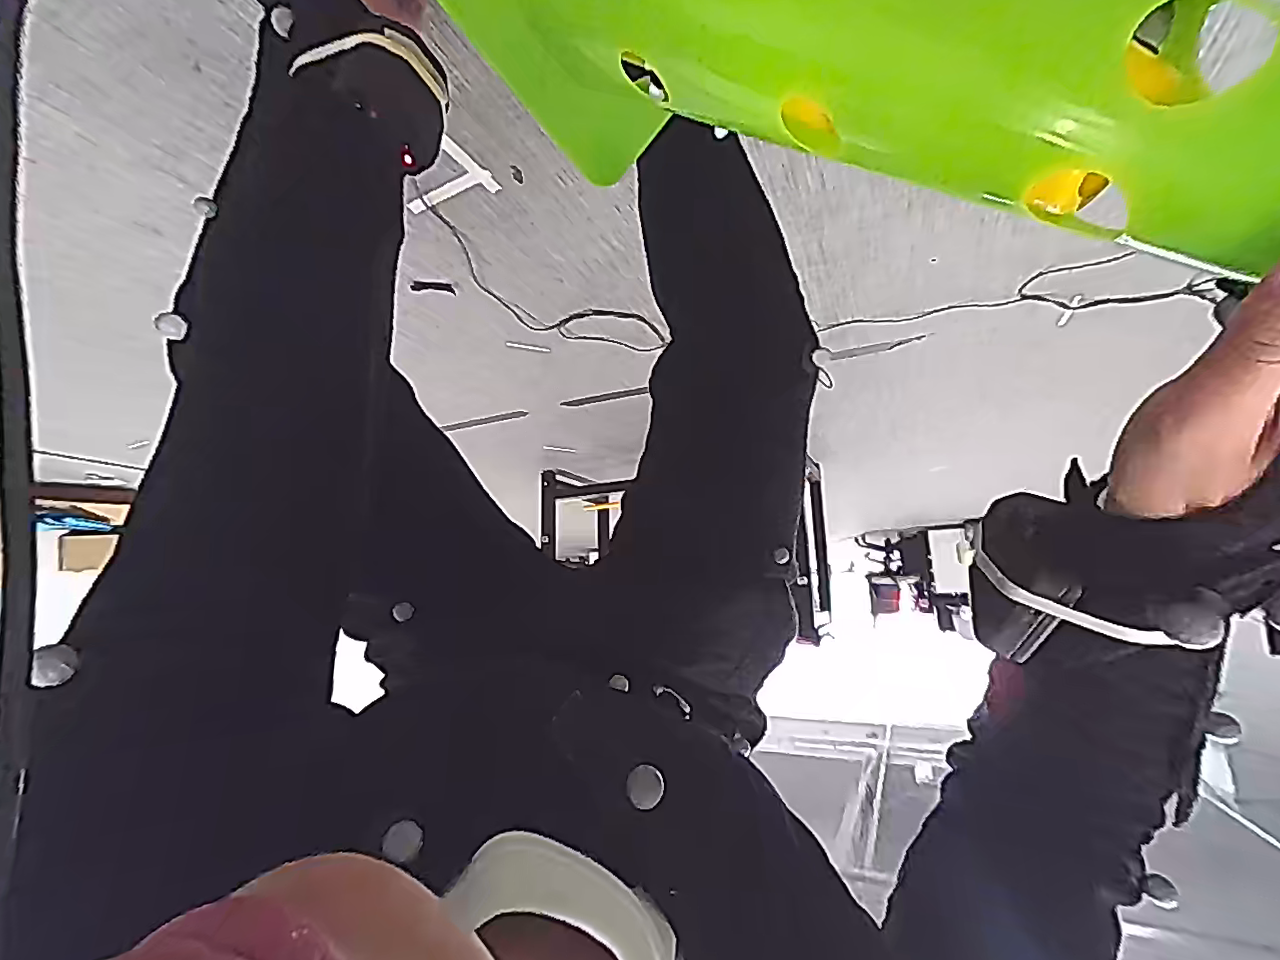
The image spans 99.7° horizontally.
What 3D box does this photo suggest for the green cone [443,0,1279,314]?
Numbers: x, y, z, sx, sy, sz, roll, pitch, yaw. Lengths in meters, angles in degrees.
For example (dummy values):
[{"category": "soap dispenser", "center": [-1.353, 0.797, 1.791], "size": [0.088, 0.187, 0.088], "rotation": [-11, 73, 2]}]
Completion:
[{"category": "green cone", "center": [0.098, -0.170, 0.204], "size": [0.202, 0.368, 0.200], "rotation": [-47, 151, 14]}]
